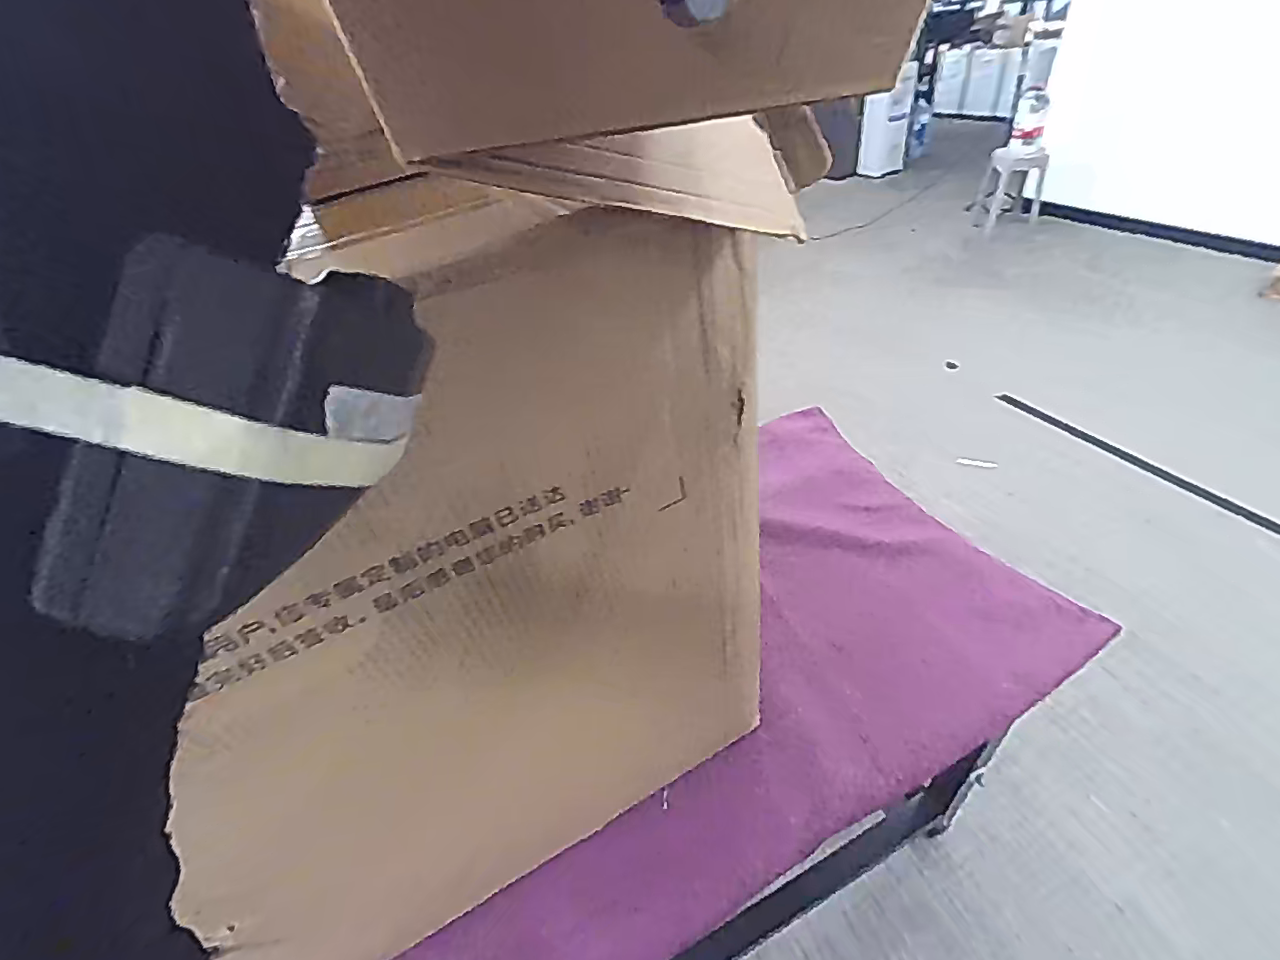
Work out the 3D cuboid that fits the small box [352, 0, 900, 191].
[{"bbox_3d":[-0.011,-0.222,0.150,0.179,0.176,0.168,-10,67,-3],"label":"small box"}]
